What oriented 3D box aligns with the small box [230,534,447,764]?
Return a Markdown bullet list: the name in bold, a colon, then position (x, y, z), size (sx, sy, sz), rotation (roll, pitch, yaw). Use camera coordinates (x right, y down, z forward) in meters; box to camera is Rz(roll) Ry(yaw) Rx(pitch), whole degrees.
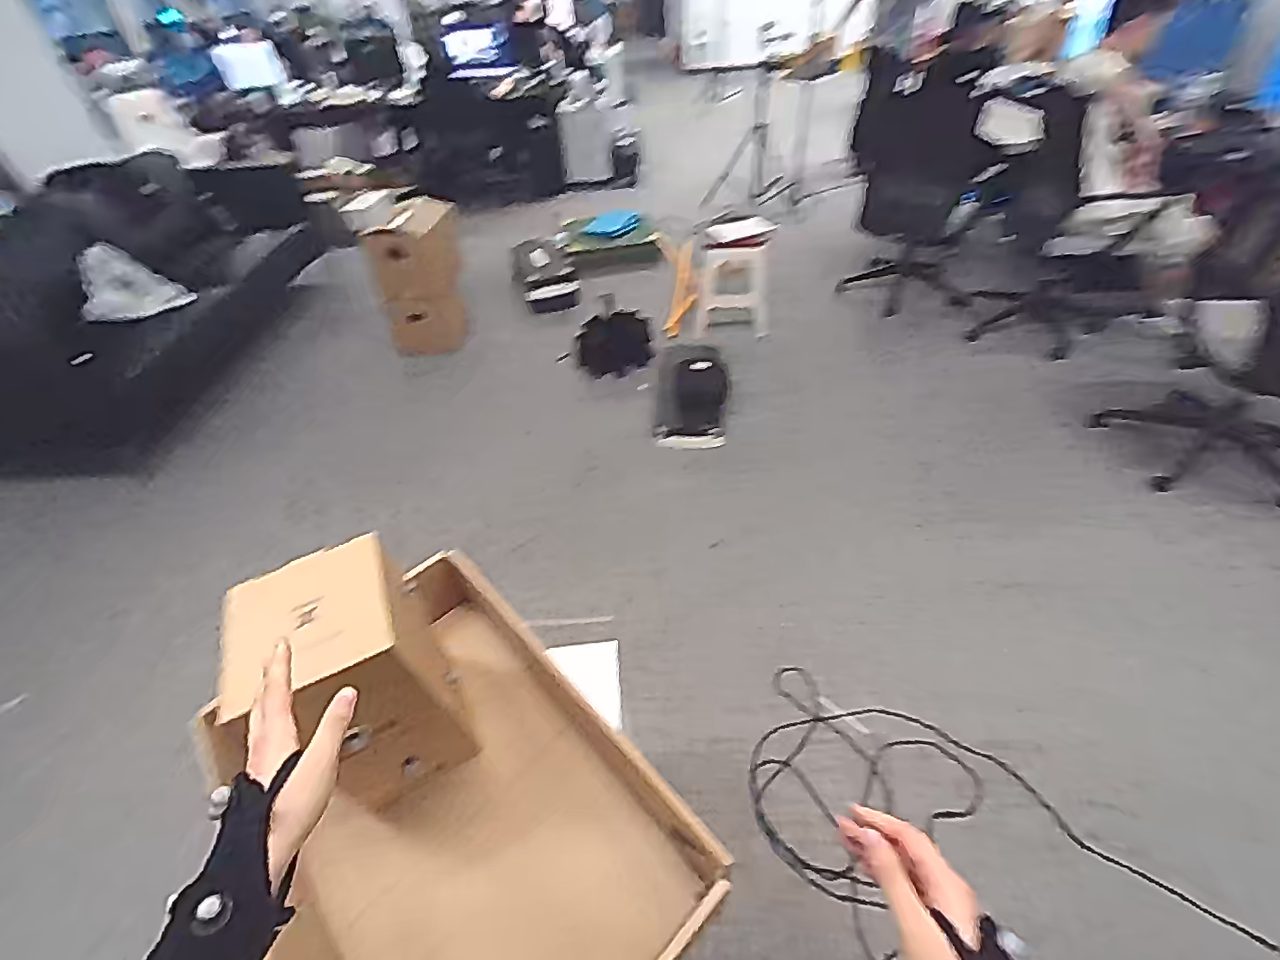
- **small box**: position (-0.356, 0.205, 0.657), size (0.168, 0.176, 0.179), rotation (-24, 48, -15)
